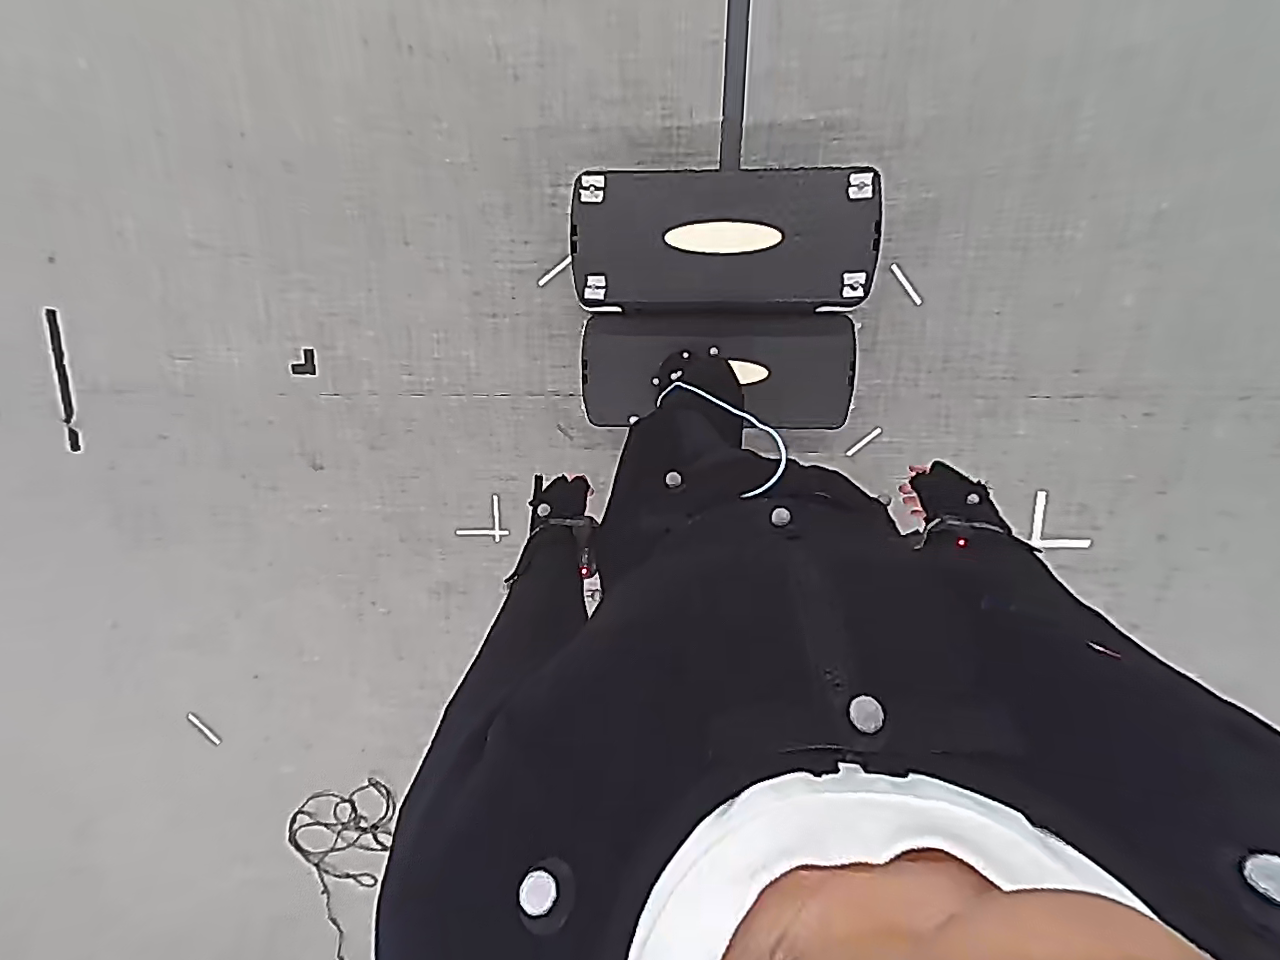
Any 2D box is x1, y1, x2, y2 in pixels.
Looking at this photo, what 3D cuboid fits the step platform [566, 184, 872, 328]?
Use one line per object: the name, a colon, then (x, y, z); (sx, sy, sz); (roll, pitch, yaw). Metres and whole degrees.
step platform: (0.171, -0.510, 1.259); (0.684, 0.204, 0.286); (0, 103, 3)
